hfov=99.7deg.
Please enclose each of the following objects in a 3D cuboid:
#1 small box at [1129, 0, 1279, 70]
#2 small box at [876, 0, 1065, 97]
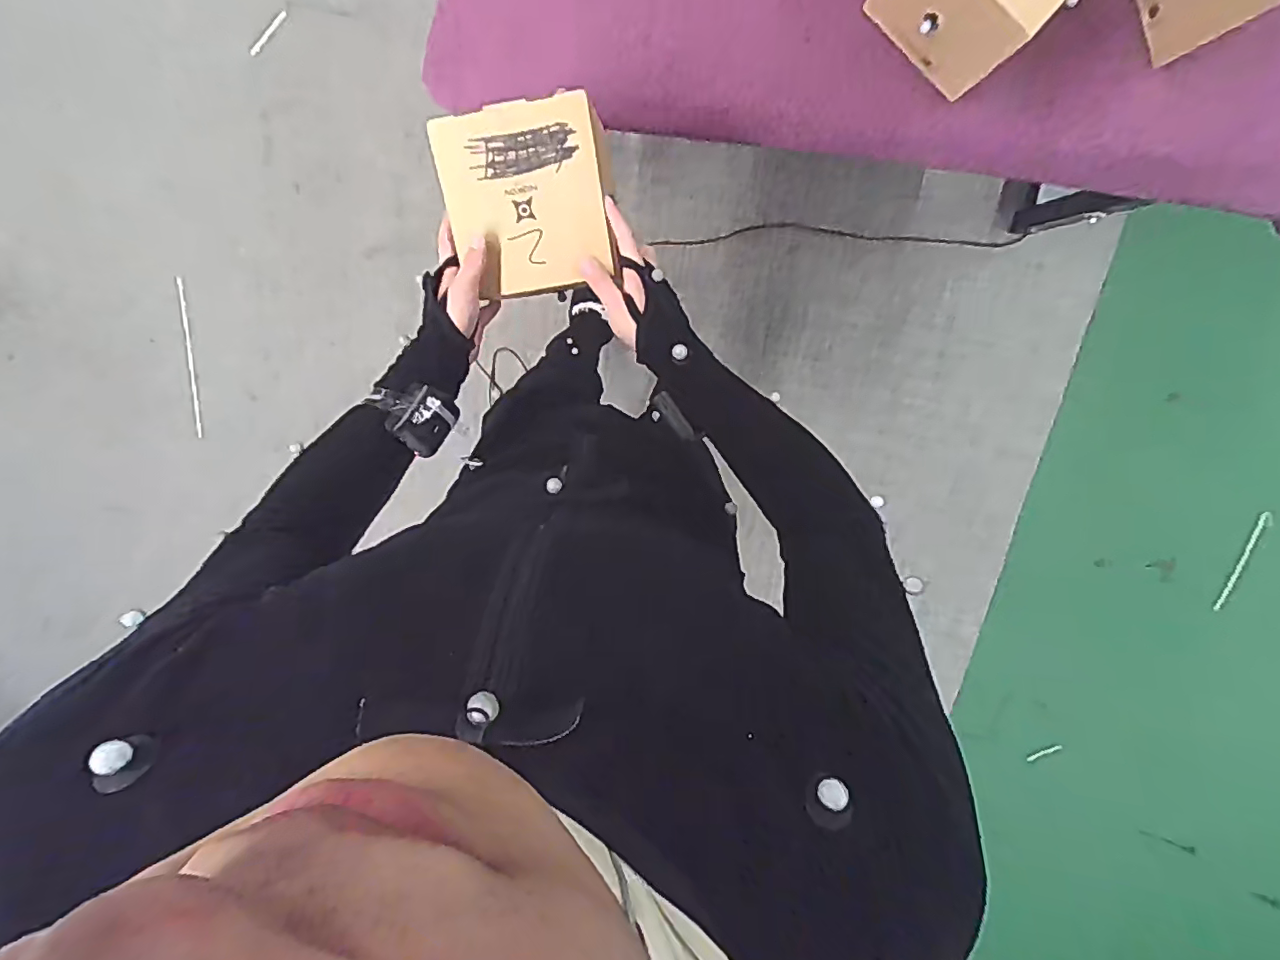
[{"bbox_3d":[0.670,-0.588,0.566,0.179,0.176,0.168,-25,103,12],"label":"small box"},{"bbox_3d":[0.386,-0.571,0.587,0.168,0.176,0.179,39,105,-8],"label":"small box"}]
